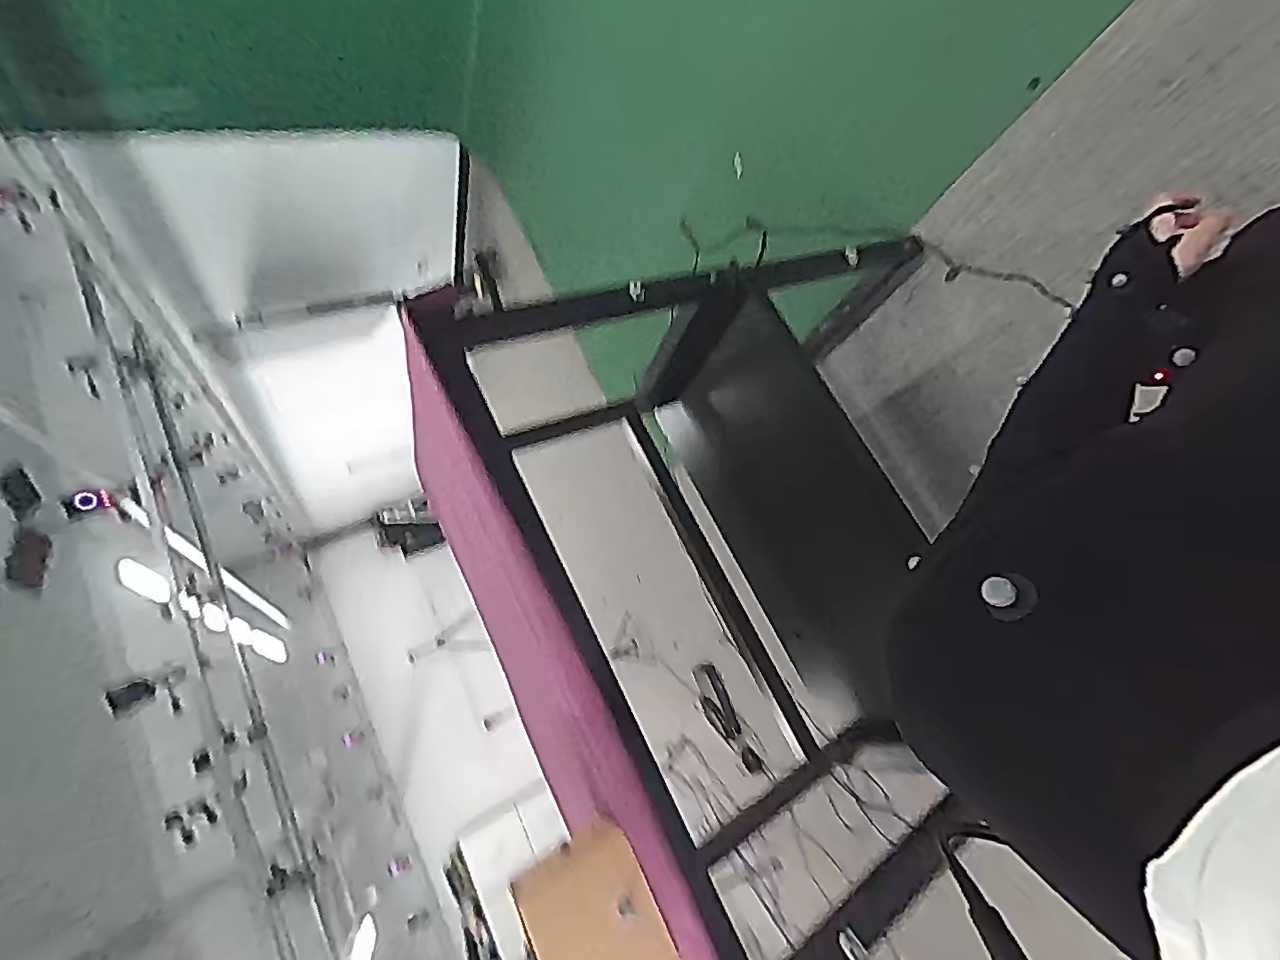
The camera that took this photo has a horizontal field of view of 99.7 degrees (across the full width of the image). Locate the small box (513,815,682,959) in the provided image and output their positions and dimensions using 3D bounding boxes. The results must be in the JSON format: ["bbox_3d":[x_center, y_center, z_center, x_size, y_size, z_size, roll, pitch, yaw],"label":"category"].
[{"bbox_3d":[-0.068,0.622,0.785,0.179,0.176,0.168,62,154,17],"label":"small box"}]
